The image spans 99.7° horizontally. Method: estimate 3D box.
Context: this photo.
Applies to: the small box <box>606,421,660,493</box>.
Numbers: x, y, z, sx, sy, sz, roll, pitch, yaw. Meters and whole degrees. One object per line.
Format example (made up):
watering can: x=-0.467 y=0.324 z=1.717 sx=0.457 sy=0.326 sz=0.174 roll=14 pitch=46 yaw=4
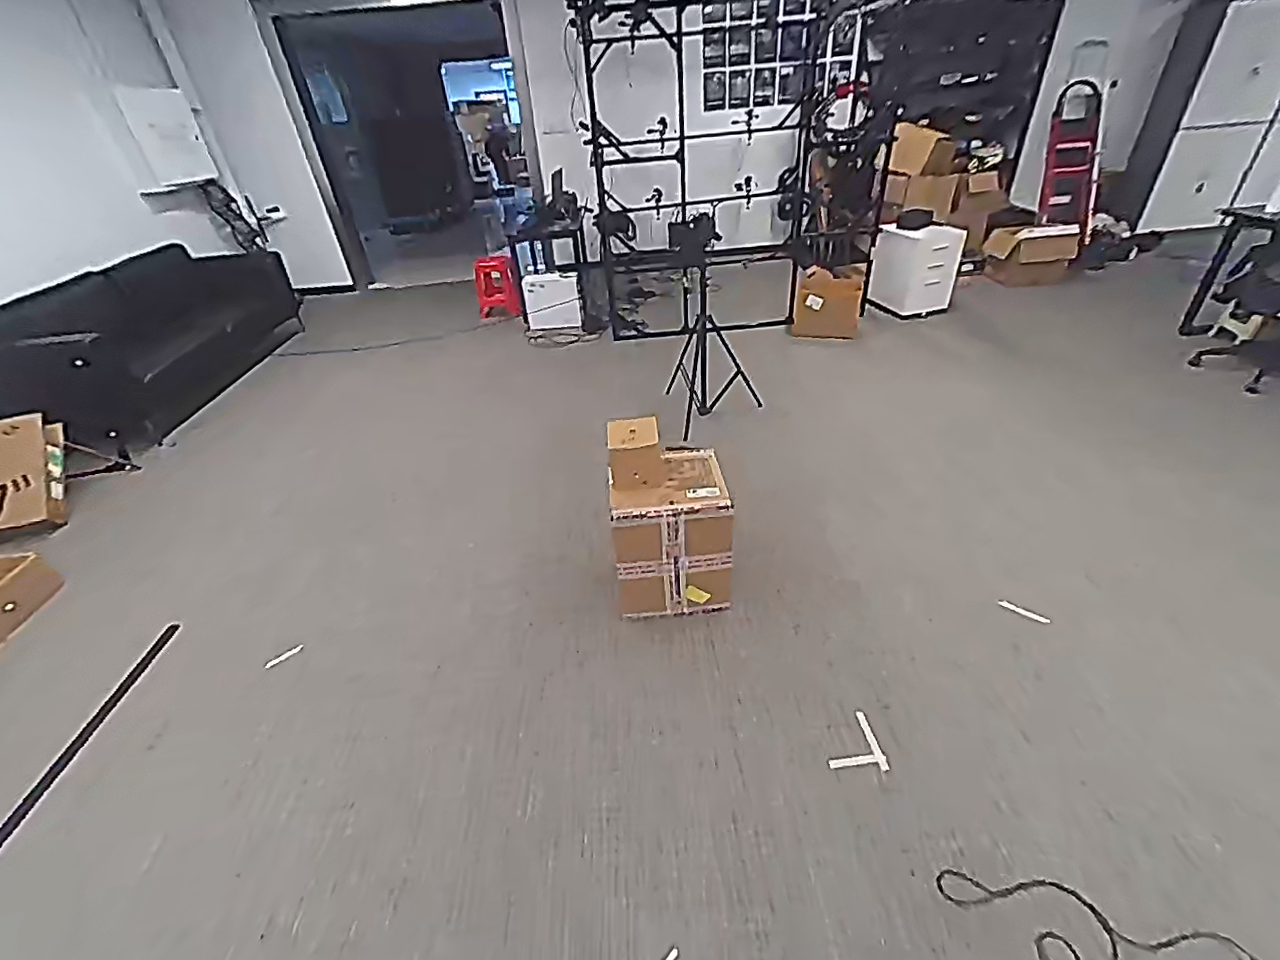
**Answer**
small box: x=-0.024 y=-0.079 z=1.821 sx=0.168 sy=0.176 sz=0.179 roll=-7 pitch=37 yaw=1
